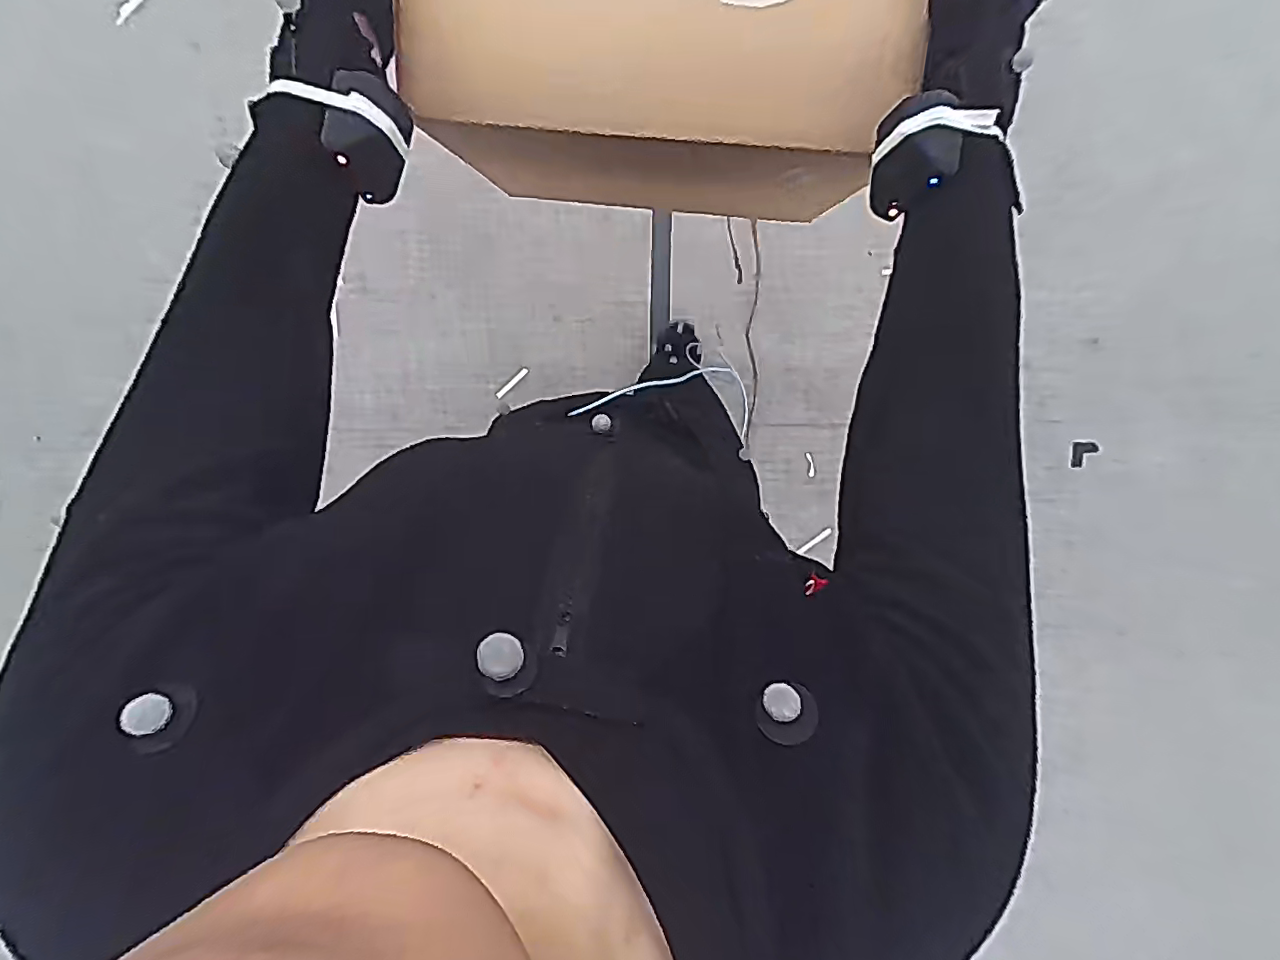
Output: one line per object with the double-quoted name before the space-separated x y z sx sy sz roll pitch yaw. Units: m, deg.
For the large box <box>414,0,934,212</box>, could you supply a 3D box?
"large box" 0.032 -0.471 0.535 0.408 0.320 0.320 5 108 1
